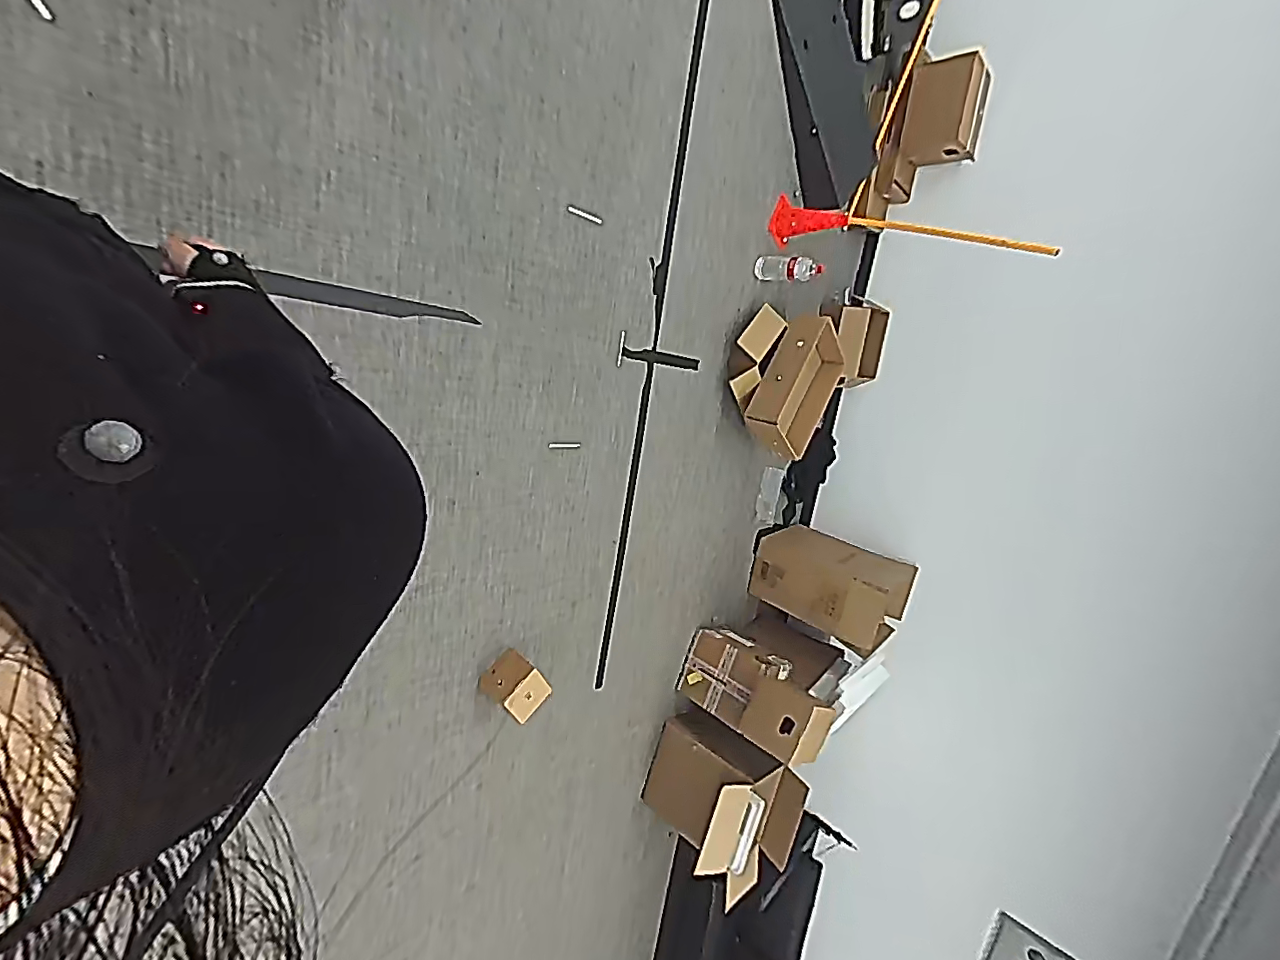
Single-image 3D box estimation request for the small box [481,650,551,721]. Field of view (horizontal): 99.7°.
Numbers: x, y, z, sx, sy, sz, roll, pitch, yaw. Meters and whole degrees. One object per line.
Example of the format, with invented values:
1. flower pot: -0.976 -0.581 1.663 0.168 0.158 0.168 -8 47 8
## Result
1. small box: -0.481 0.783 2.080 0.168 0.176 0.179 -45 136 -26
